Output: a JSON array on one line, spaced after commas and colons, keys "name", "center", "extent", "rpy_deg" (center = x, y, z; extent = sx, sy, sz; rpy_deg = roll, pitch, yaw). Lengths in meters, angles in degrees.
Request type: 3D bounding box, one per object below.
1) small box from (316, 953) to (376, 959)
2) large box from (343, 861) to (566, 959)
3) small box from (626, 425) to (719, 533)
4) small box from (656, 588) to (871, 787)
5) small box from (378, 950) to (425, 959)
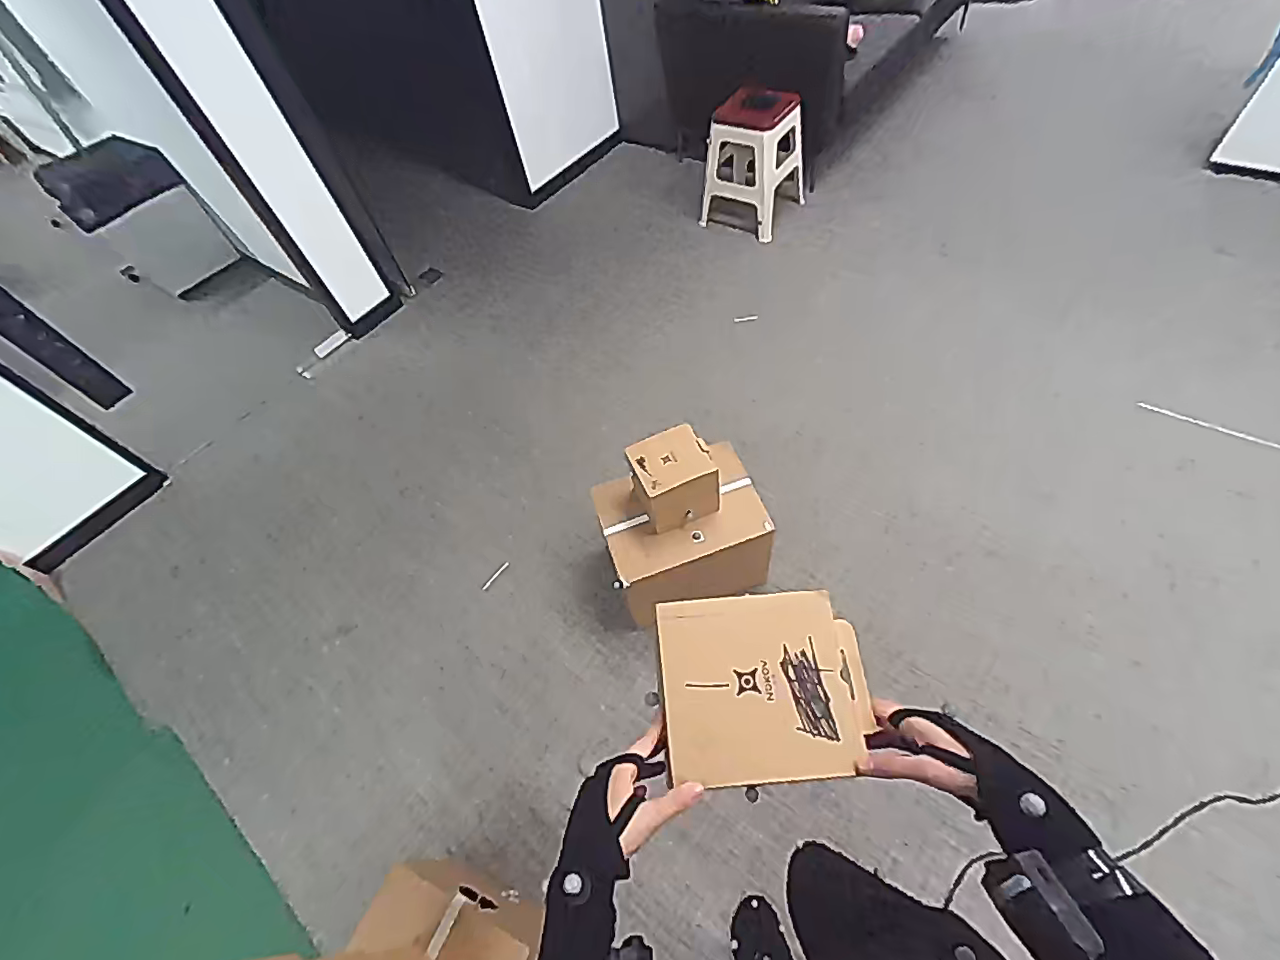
[{"name": "small box", "center": [-0.399, 0.746, 0.673], "extent": [0.168, 0.176, 0.179], "rpy_deg": [23, 60, 22]}, {"name": "large box", "center": [-0.384, 0.997, 0.997], "extent": [0.320, 0.320, 0.408], "rpy_deg": [16, 60, 20]}, {"name": "small box", "center": [0.080, 0.000, 1.328], "extent": [0.179, 0.176, 0.168], "rpy_deg": [-21, 53, -8]}, {"name": "small box", "center": [0.109, 0.221, 0.567], "extent": [0.179, 0.176, 0.168], "rpy_deg": [-4, 61, -1]}, {"name": "small box", "center": [-0.376, 0.844, 0.800], "extent": [0.179, 0.176, 0.168], "rpy_deg": [21, 60, 21]}]
